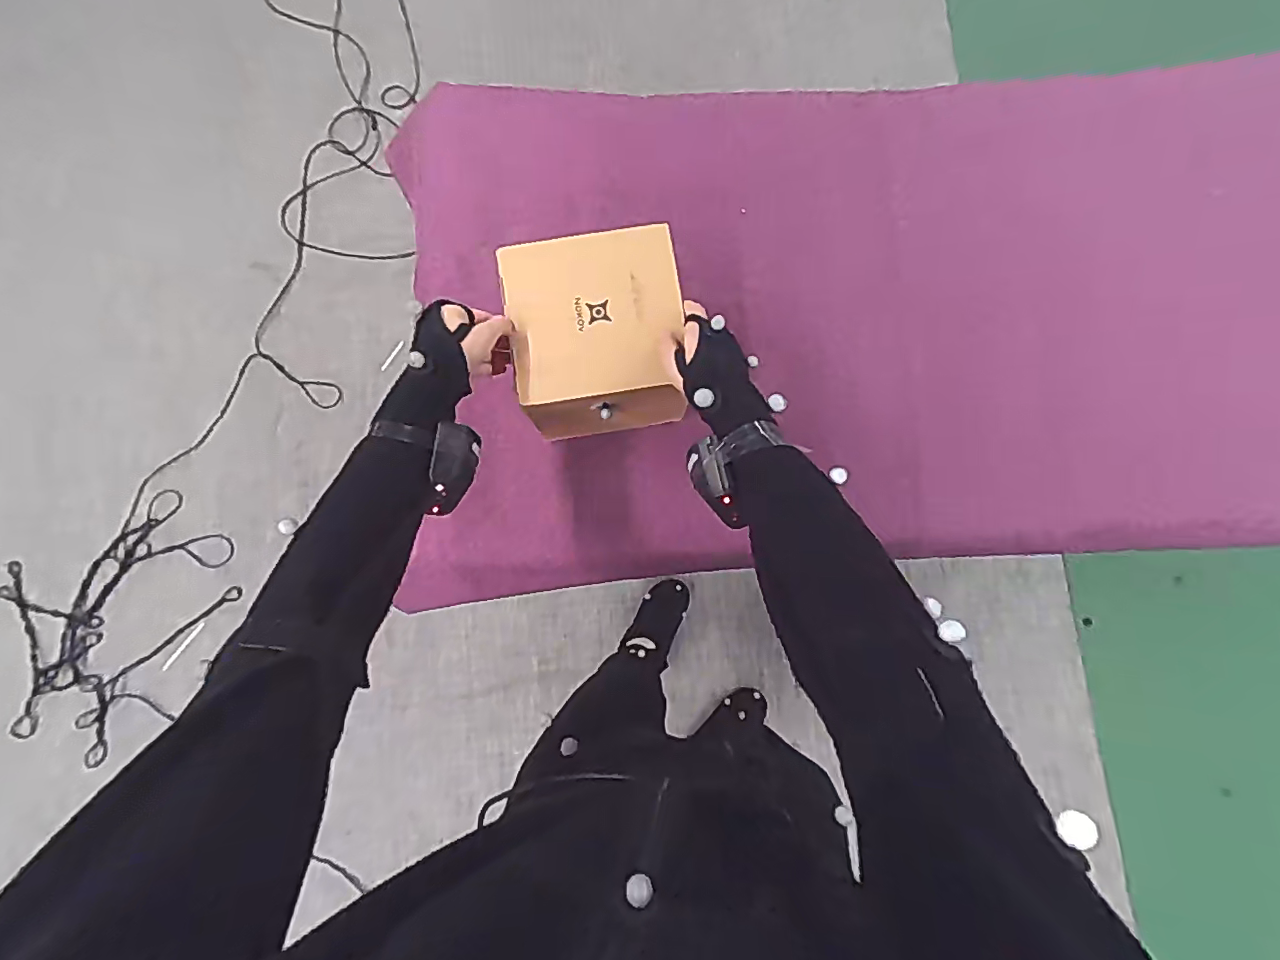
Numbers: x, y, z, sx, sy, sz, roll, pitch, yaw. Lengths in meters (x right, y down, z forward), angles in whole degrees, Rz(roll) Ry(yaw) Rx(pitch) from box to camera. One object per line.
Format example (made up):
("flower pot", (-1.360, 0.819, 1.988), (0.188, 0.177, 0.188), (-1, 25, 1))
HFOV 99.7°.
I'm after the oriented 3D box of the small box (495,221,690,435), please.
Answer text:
("small box", (-0.047, -0.154, 0.602), (0.179, 0.176, 0.168), (-8, 83, -1))
